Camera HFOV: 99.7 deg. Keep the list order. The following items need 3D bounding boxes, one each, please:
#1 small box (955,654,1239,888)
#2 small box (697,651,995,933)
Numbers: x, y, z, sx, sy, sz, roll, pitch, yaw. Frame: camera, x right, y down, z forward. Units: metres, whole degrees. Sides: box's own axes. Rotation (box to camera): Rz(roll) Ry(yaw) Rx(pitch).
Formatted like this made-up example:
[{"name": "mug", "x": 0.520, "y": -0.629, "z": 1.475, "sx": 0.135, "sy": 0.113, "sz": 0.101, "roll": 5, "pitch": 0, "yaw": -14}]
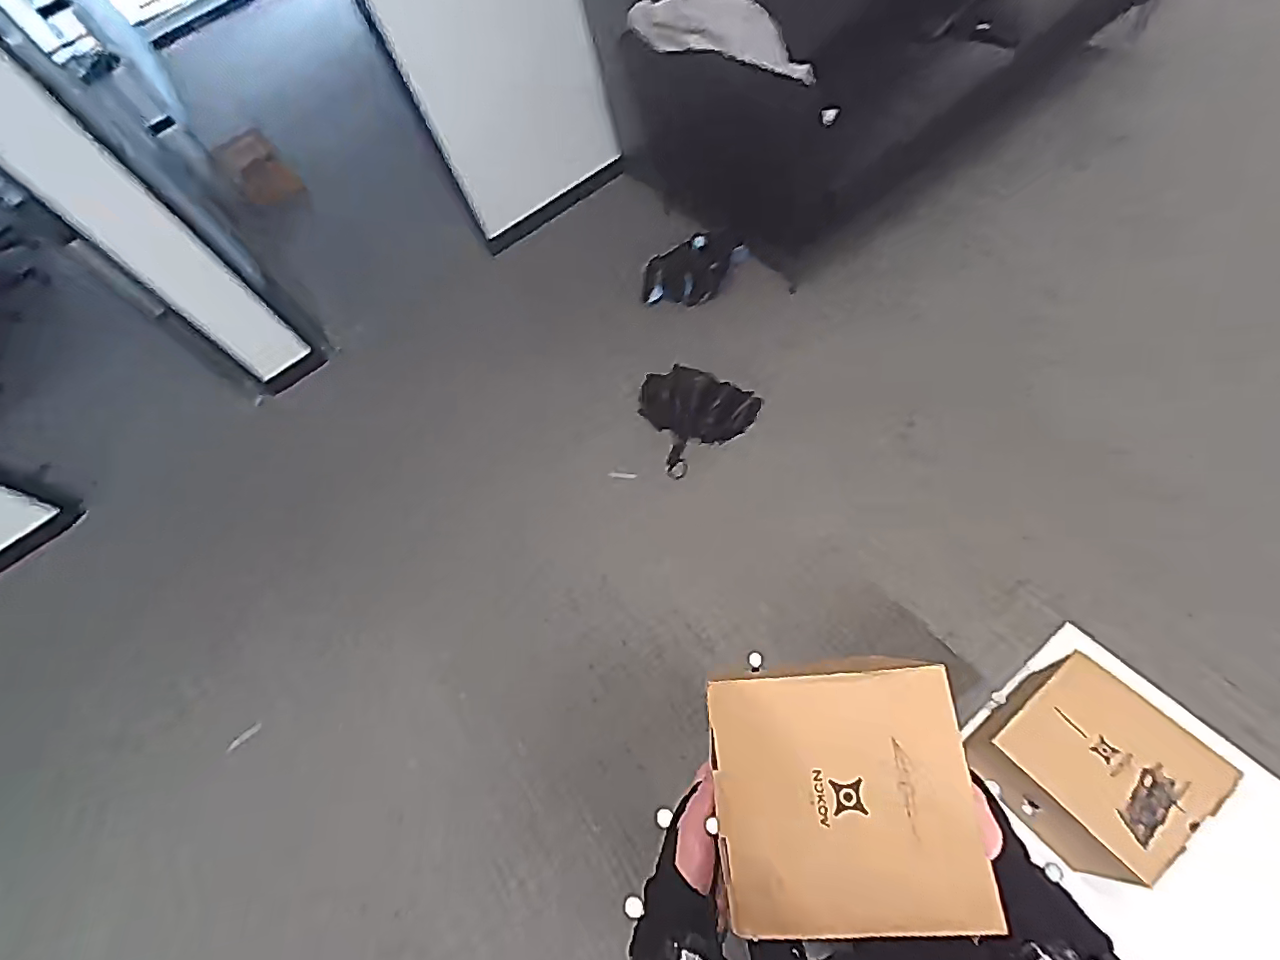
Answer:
[{"name": "small box", "x": 0.536, "y": 0.350, "z": 0.667, "sx": 0.168, "sy": 0.176, "sz": 0.179, "roll": -38, "pitch": 58, "yaw": -10}, {"name": "small box", "x": 0.150, "y": 0.240, "z": 0.457, "sx": 0.179, "sy": 0.176, "sz": 0.168, "roll": -9, "pitch": 74, "yaw": 6}]
